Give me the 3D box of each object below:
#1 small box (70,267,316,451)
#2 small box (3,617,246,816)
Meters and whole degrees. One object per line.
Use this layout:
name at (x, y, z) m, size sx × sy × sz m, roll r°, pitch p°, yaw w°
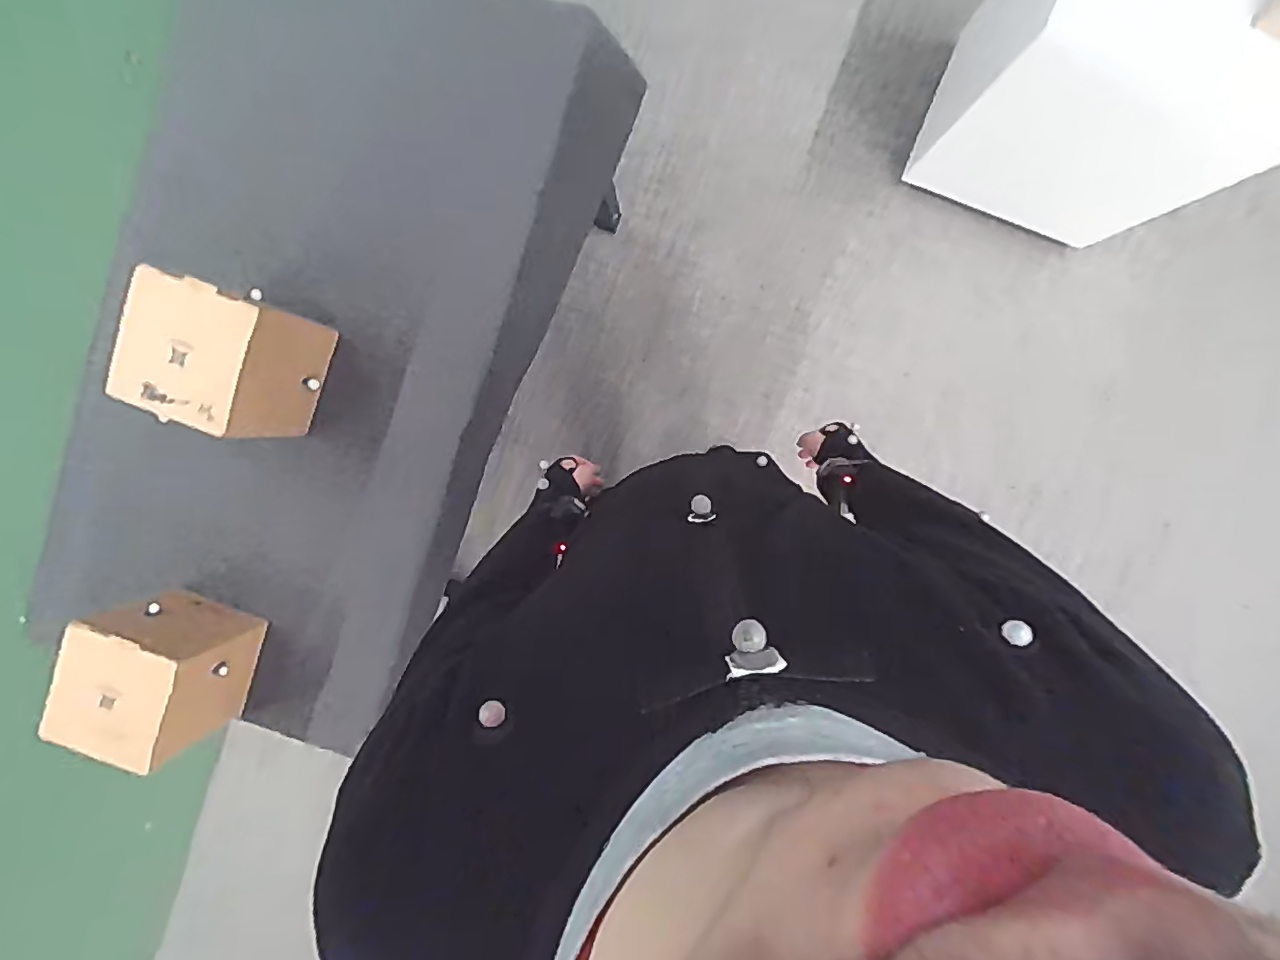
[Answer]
small box at (-0.570, -0.148, 0.717) m, size 0.168 × 0.176 × 0.179 m, roll 20°, pitch 94°, yaw -1°
small box at (-0.700, 0.314, 0.757) m, size 0.168 × 0.176 × 0.179 m, roll 18°, pitch 96°, yaw 0°
